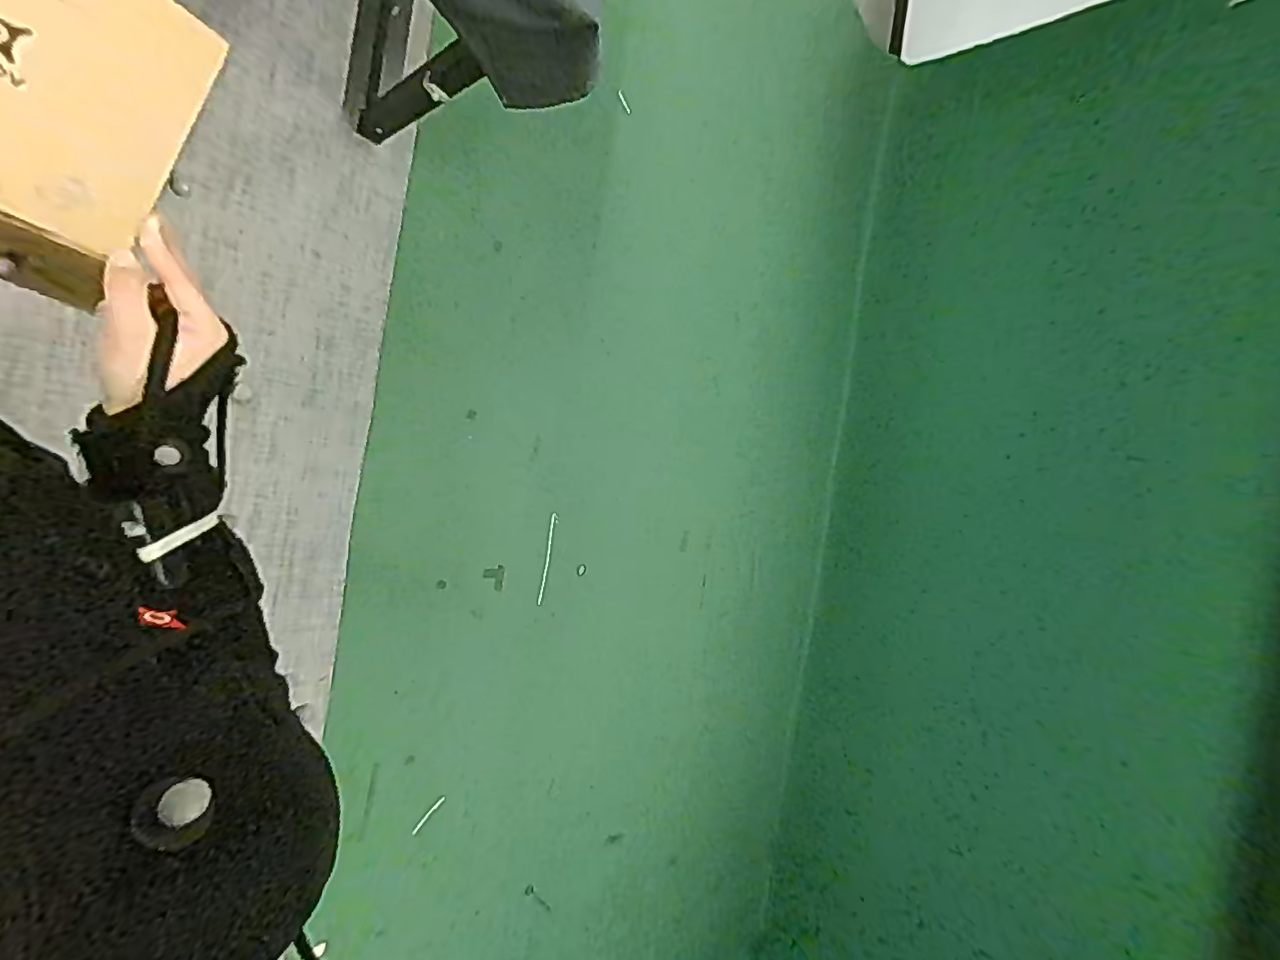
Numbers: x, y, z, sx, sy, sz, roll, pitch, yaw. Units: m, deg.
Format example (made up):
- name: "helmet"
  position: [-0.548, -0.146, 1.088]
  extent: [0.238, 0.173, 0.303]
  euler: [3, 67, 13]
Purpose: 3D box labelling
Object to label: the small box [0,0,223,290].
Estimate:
- name: "small box"
  position: [-0.404, -0.244, 0.333]
  extent: [0.168, 0.176, 0.179]
  euler: [26, 72, -48]
